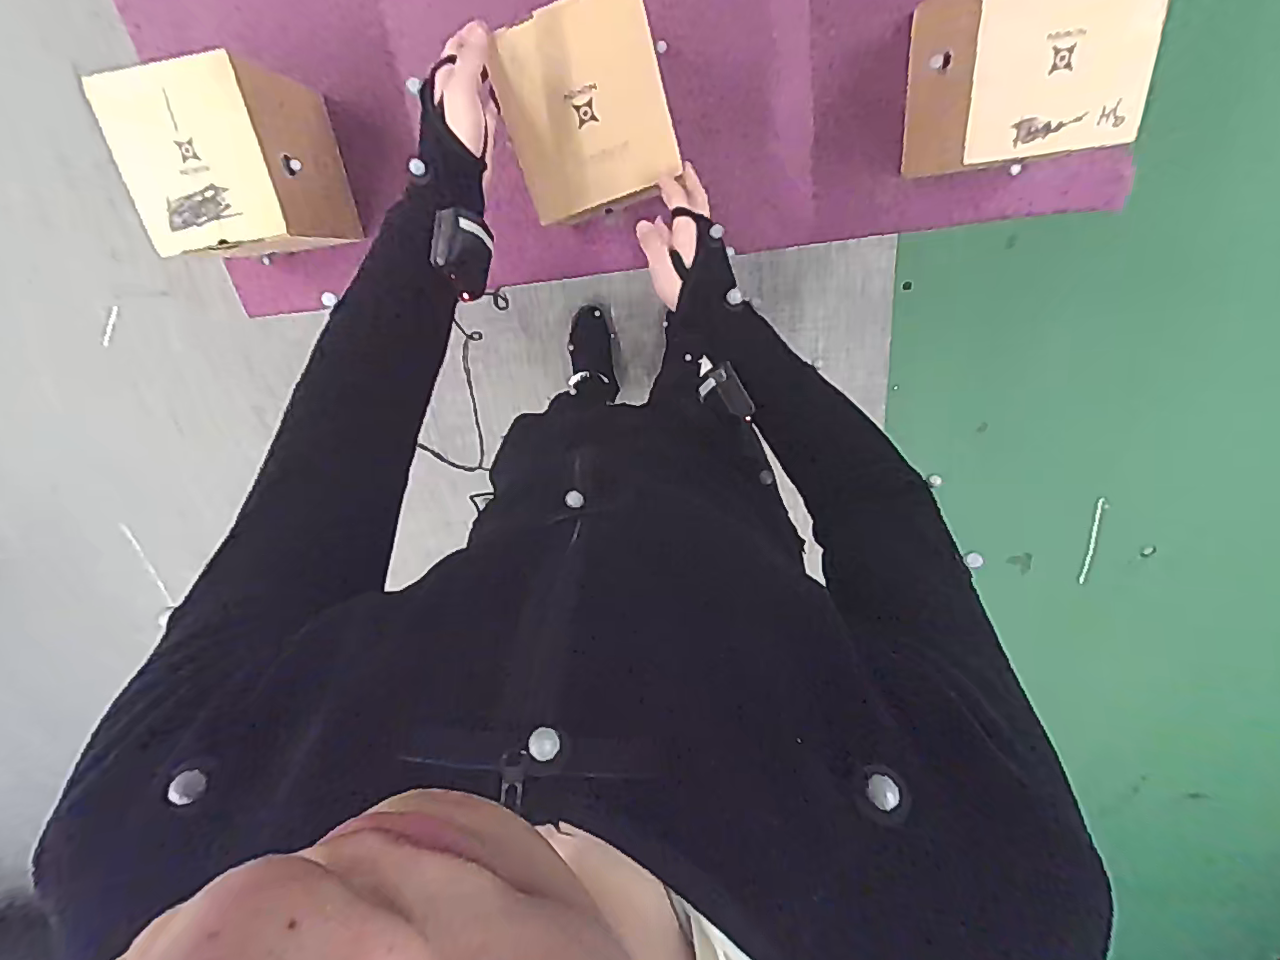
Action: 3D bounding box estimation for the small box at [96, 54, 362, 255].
[{"bbox_3d":[-0.482,-0.386,0.671,0.168,0.176,0.179,-6,113,6],"label":"small box"}]

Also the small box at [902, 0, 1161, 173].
[{"bbox_3d":[0.396,-0.444,0.577,0.168,0.176,0.179,-4,115,8],"label":"small box"}]

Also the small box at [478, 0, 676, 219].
[{"bbox_3d":[-0.057,-0.418,0.626,0.168,0.176,0.179,-13,114,11],"label":"small box"}]
